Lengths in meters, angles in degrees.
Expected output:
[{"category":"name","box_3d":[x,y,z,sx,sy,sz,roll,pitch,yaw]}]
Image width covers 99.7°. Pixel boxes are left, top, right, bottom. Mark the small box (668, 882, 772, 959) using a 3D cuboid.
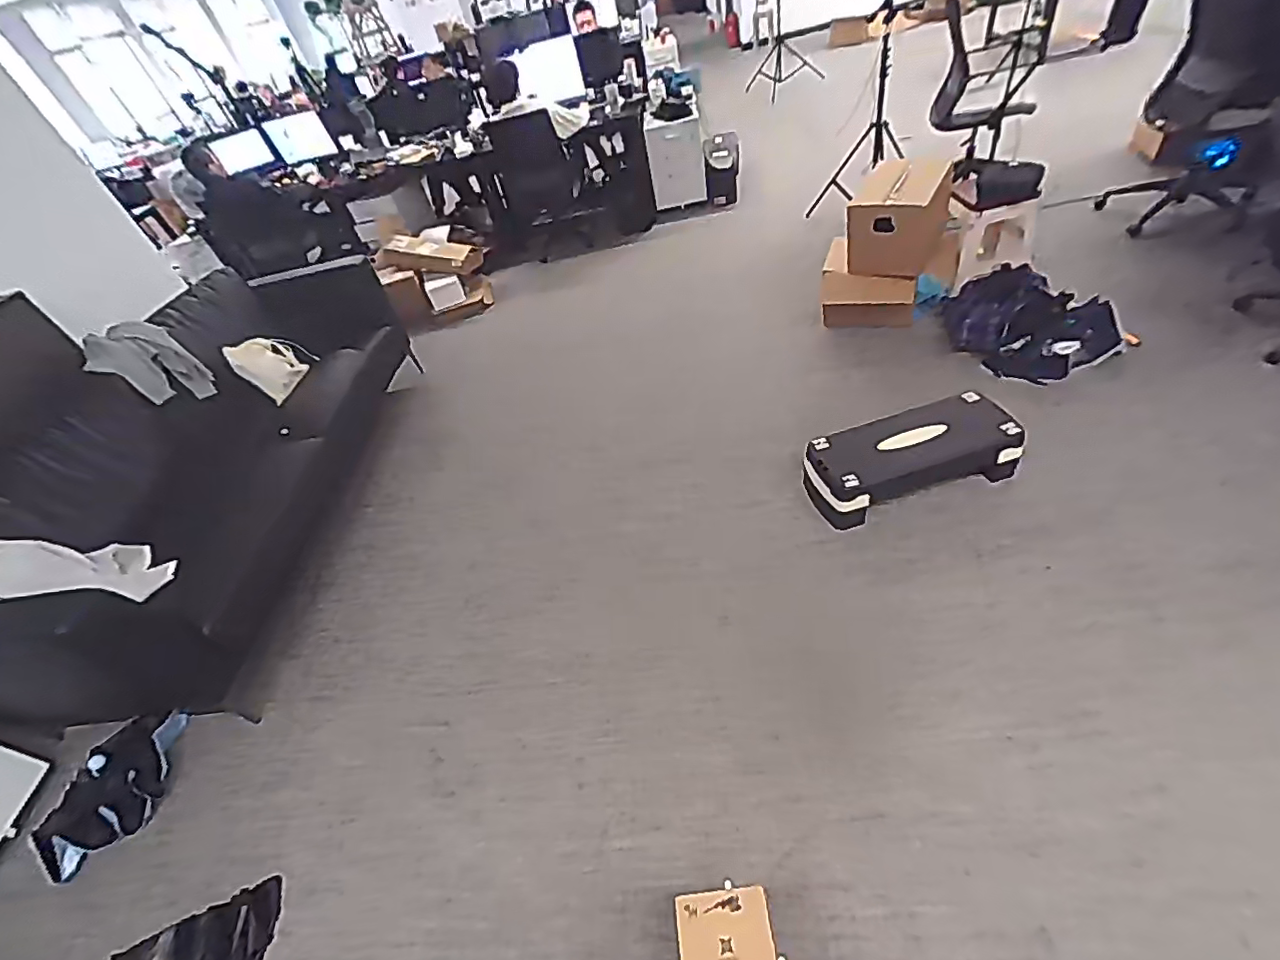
[{"category":"small box","box_3d":[0.154,0.867,0.995,0.168,0.176,0.179,-11,45,5]}]
